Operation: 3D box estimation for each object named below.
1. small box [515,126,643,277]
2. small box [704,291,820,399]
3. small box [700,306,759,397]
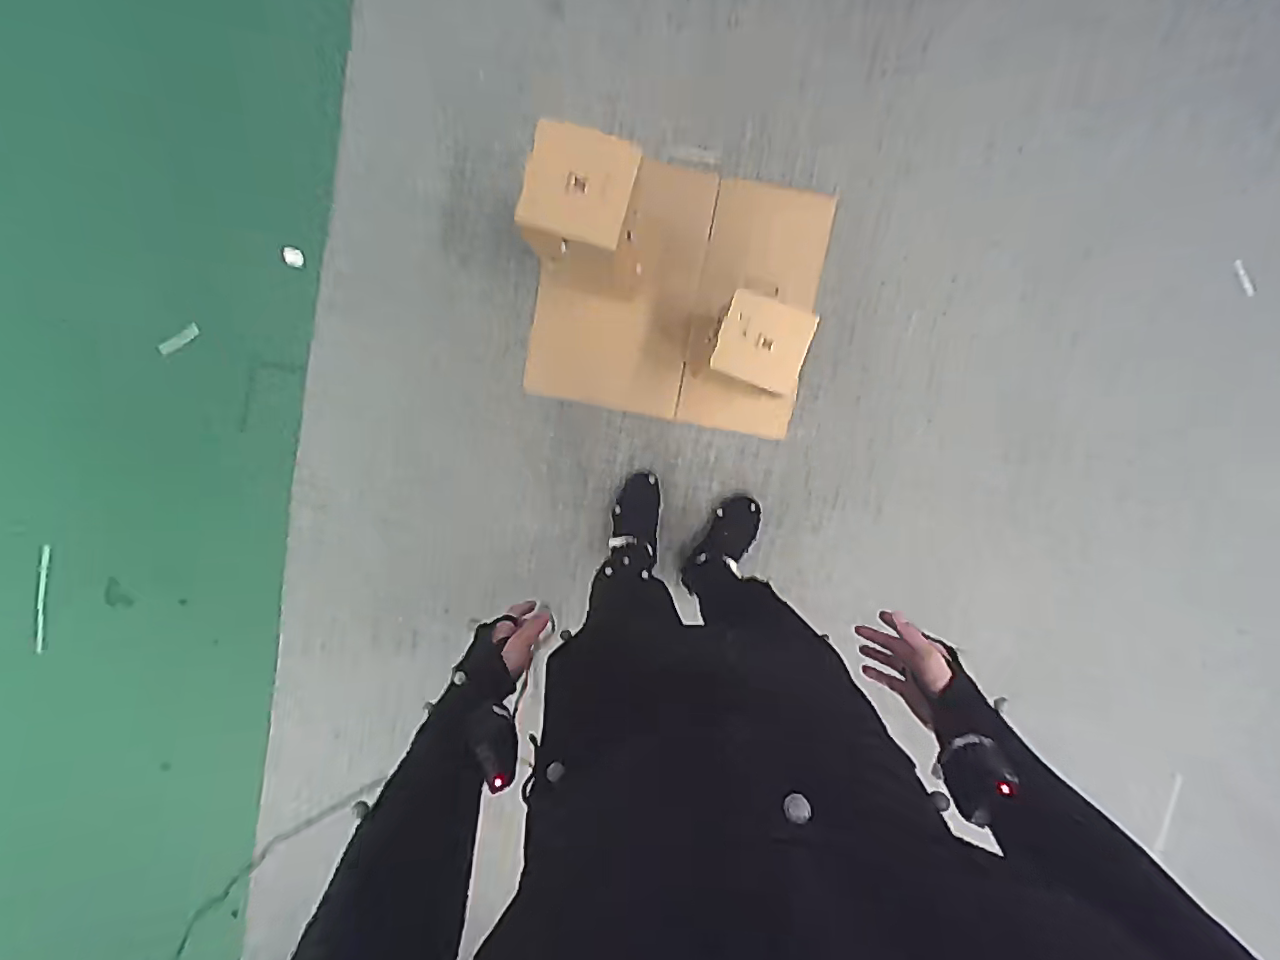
[{"bbox_3d":[-0.100,-0.479,0.961,0.179,0.176,0.168,17,97,-1],"label":"small box"},{"bbox_3d":[0.247,-0.275,1.139,0.179,0.176,0.168,20,96,0],"label":"small box"},{"bbox_3d":[0.253,-0.300,1.303,0.179,0.176,0.168,16,96,0],"label":"small box"}]
